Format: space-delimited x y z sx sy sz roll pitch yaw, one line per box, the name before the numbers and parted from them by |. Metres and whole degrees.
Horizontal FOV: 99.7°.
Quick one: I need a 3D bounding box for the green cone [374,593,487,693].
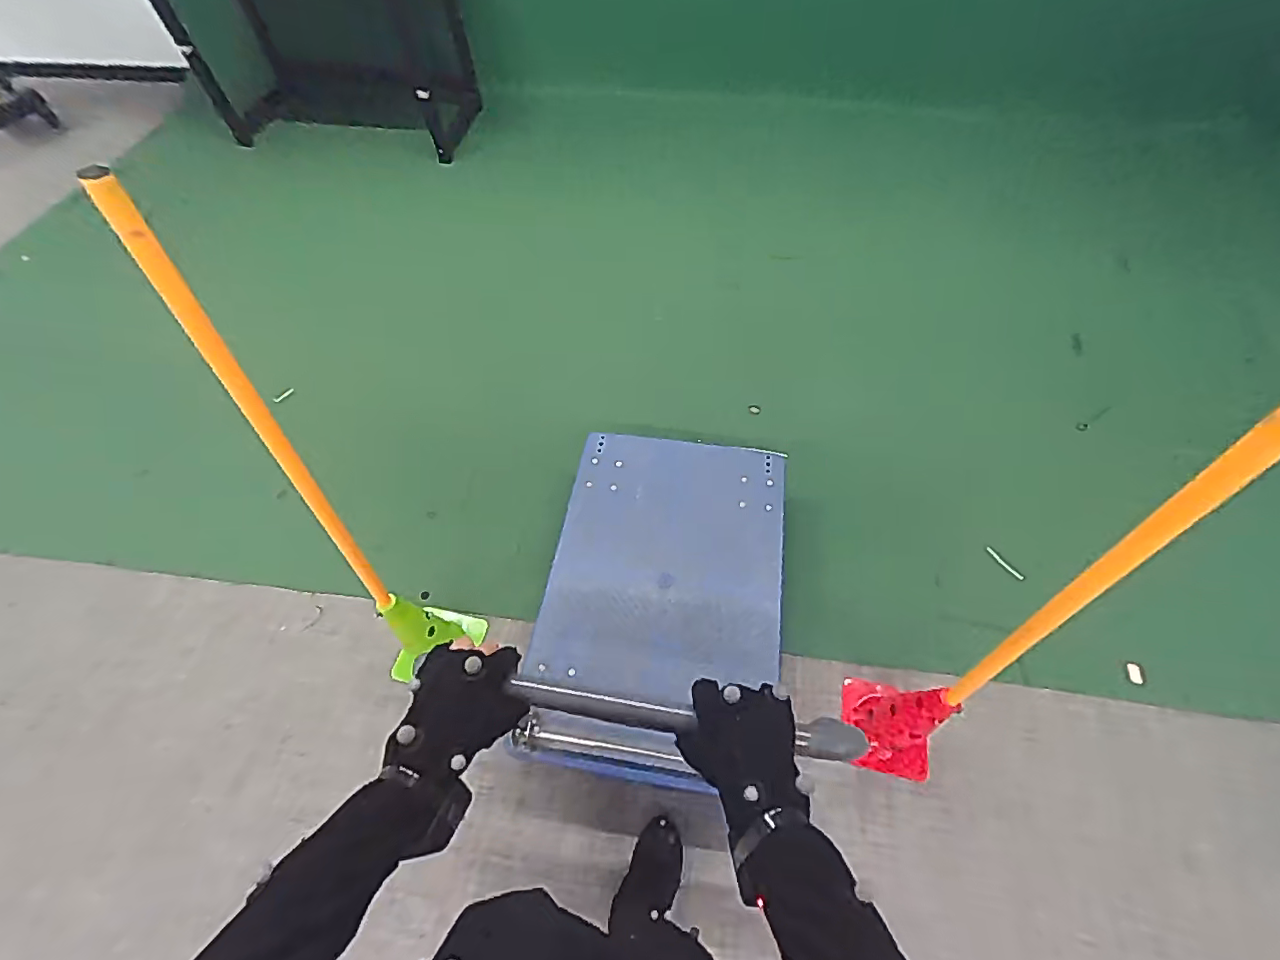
green cone | -0.533 0.354 1.295 0.202 0.368 0.200 10 57 9
